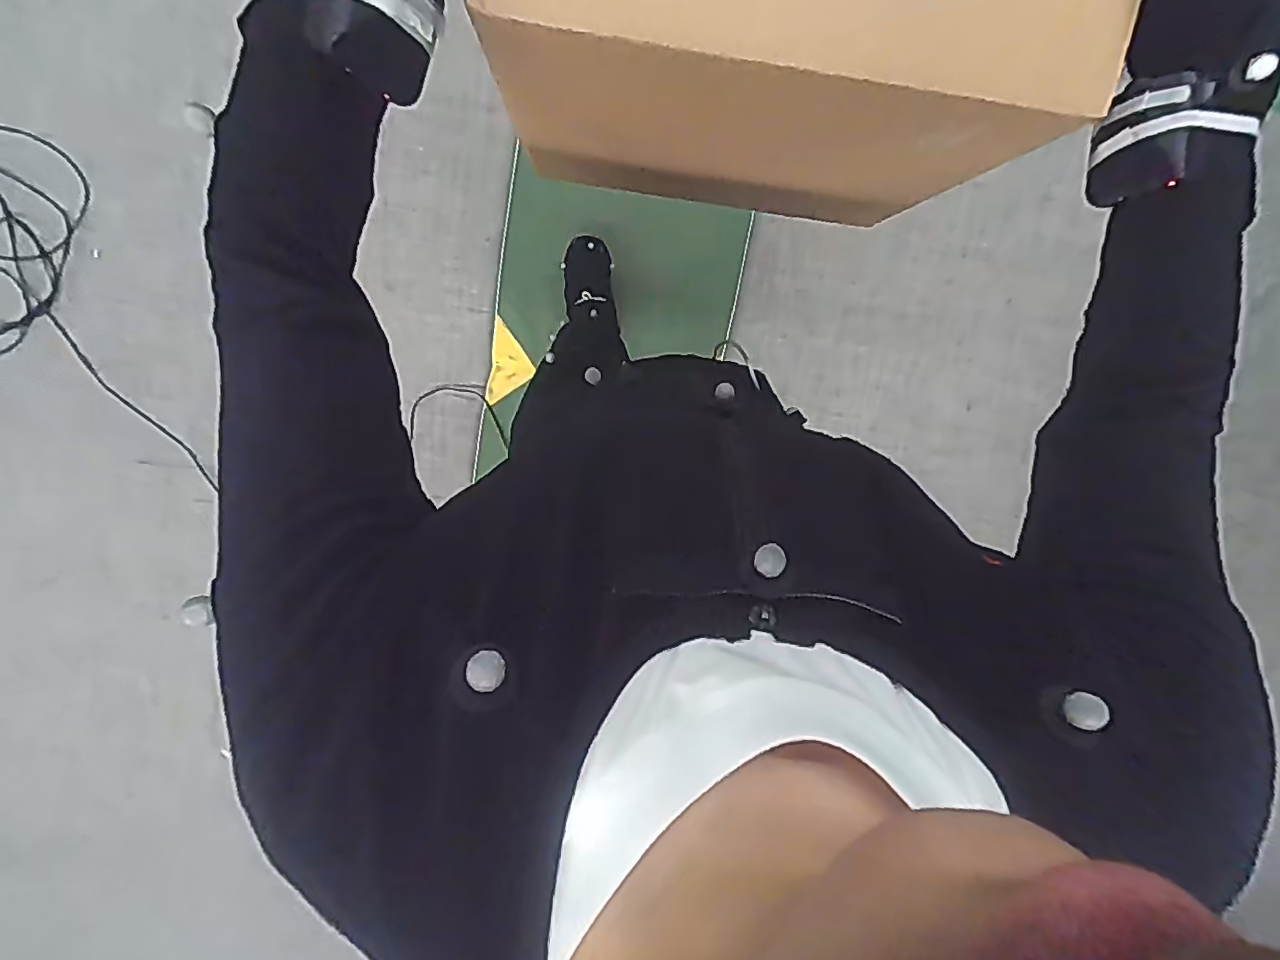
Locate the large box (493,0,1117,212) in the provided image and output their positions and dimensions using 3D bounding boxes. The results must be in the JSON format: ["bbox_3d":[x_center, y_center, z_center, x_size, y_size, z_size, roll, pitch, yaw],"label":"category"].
[{"bbox_3d":[0.105,-0.447,0.453,0.408,0.320,0.320,5,103,-6],"label":"large box"}]
